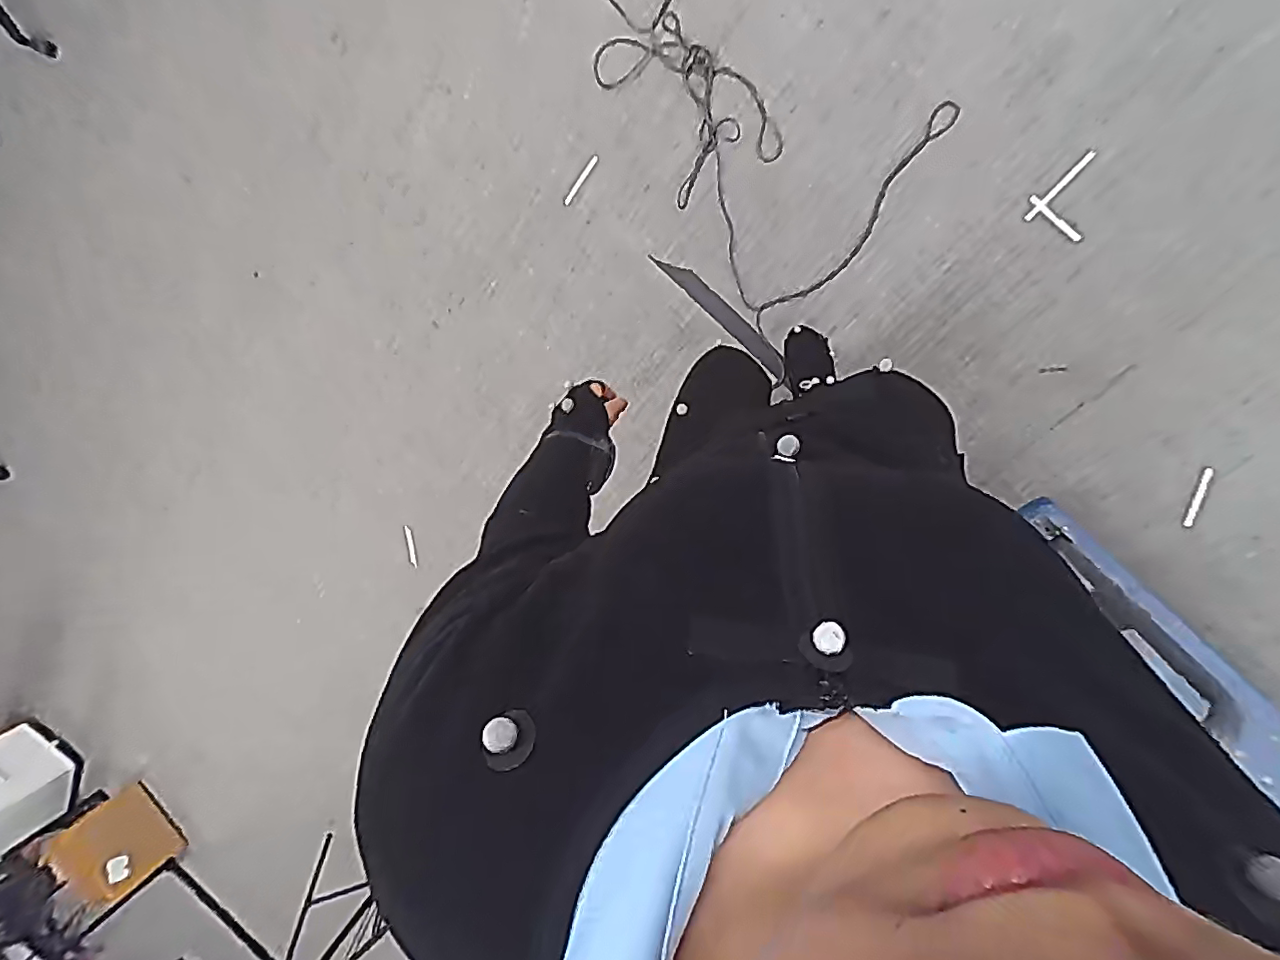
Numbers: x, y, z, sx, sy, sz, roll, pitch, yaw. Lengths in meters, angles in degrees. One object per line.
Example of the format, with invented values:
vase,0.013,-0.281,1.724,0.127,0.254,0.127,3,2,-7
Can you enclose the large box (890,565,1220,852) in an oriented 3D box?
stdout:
large box,0.805,0.459,1.135,0.320,0.320,0.408,41,115,4
